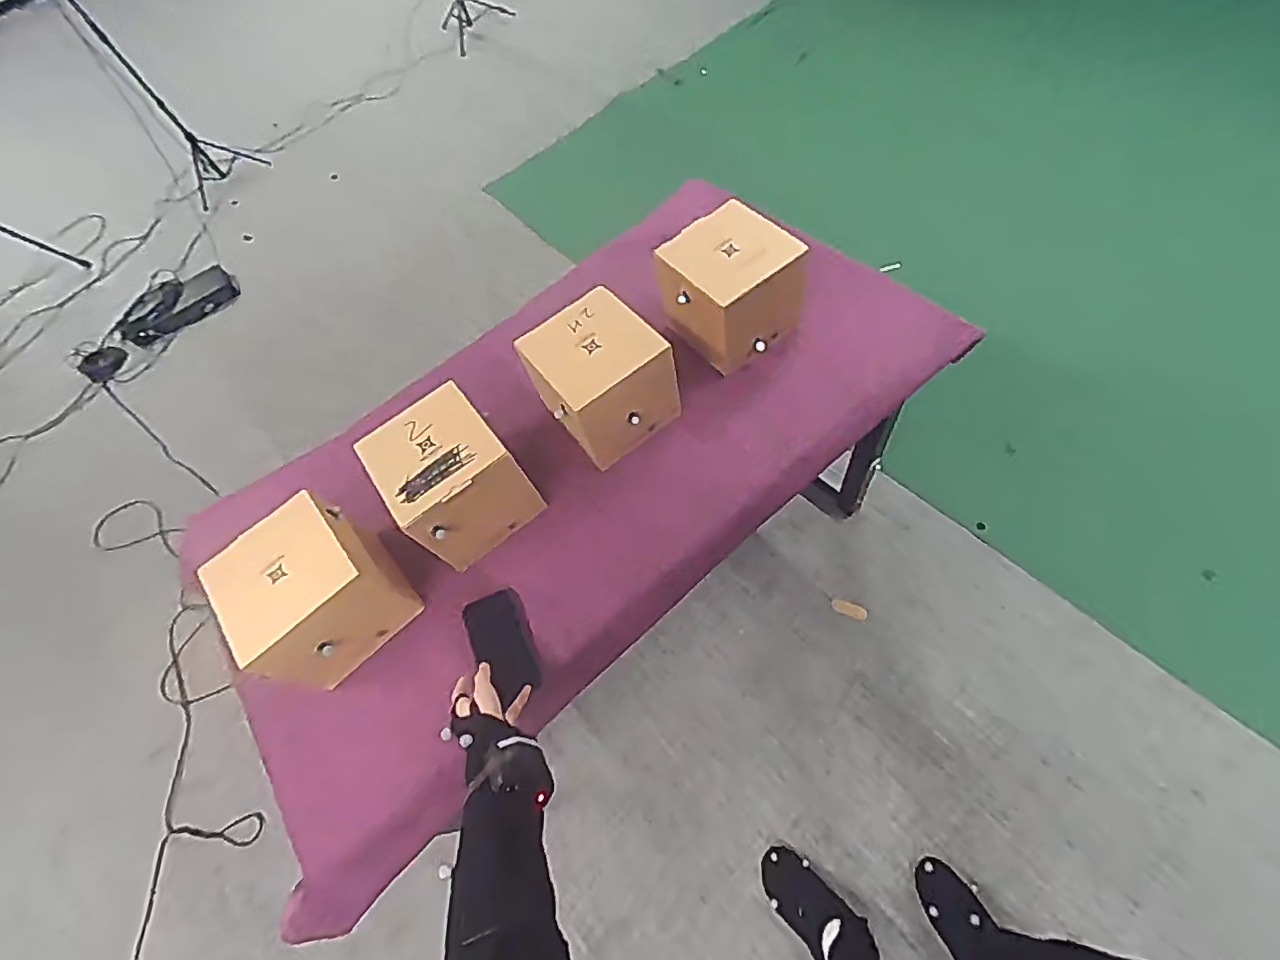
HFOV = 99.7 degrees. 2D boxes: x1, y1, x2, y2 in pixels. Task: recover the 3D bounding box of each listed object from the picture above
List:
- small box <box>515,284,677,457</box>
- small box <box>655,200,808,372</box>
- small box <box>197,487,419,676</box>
[{"bbox_3d":[-0.058,-0.159,0.840,0.168,0.176,0.179,-36,61,-10],"label":"small box"},{"bbox_3d":[0.147,-0.312,0.887,0.168,0.176,0.179,-35,61,-8],"label":"small box"},{"bbox_3d":[-0.443,0.148,0.745,0.168,0.176,0.179,-42,62,-13],"label":"small box"}]
